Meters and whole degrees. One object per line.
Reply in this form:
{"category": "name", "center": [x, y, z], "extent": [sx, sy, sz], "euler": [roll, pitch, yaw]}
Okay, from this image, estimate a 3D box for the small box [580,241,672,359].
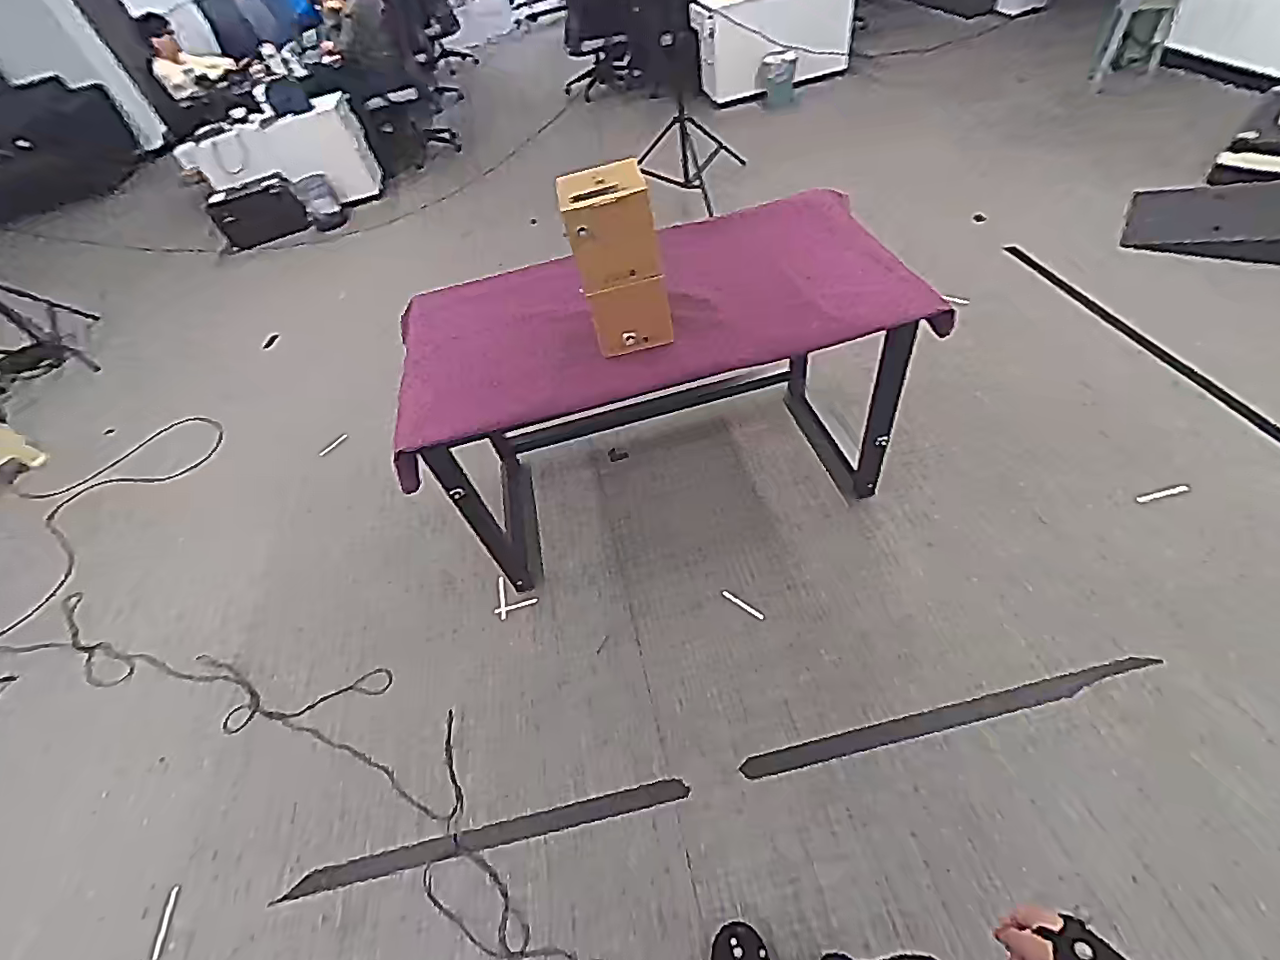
{"category": "small box", "center": [-0.030, -0.402, 1.216], "extent": [0.168, 0.176, 0.179], "euler": [-14, 50, 2]}
